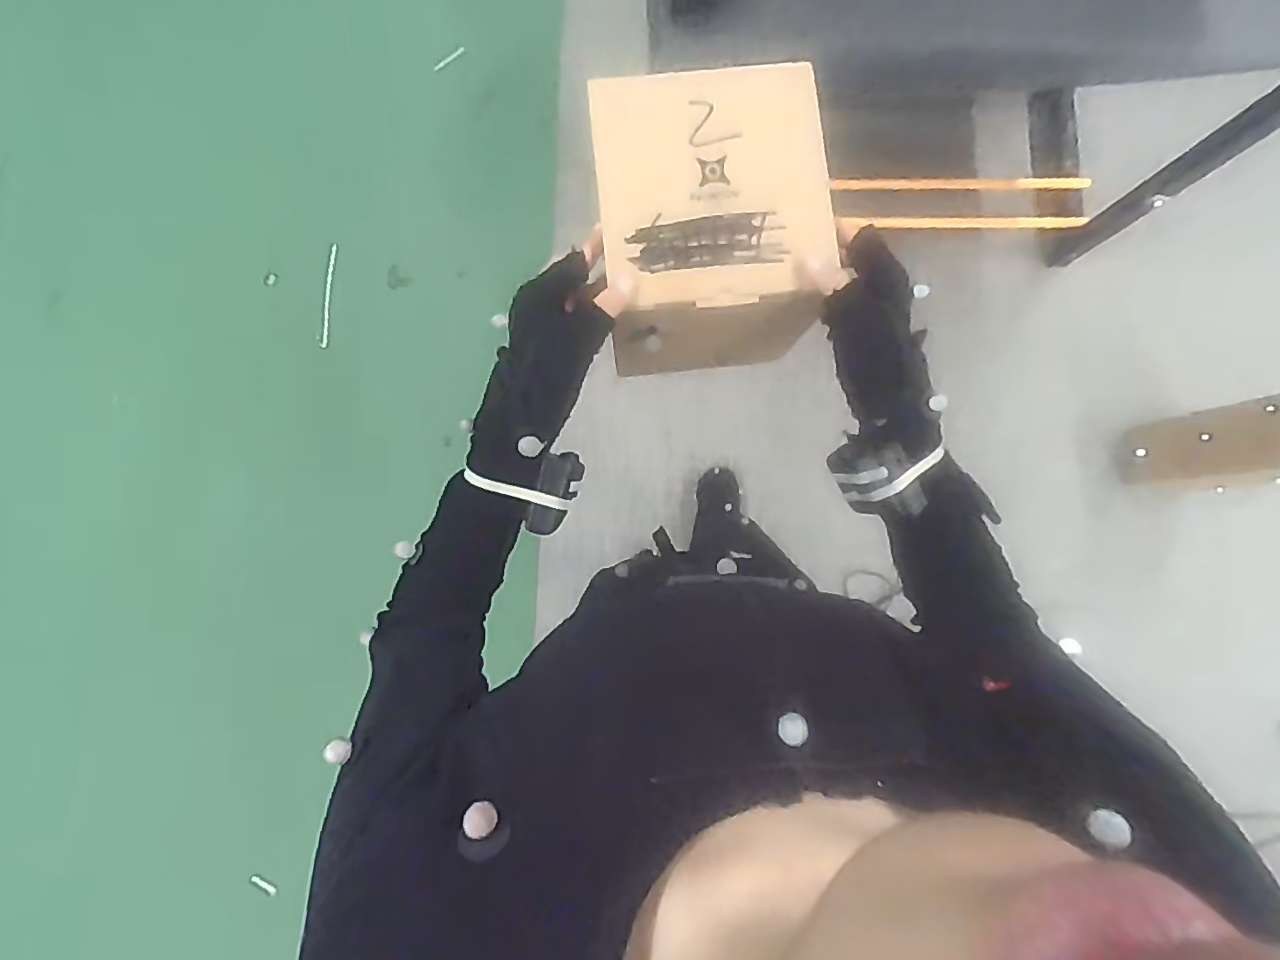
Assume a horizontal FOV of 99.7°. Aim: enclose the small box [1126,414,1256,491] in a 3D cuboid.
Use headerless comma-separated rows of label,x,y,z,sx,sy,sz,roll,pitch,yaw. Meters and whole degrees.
small box,1.432,-0.066,1.412,0.179,0.176,0.168,6,83,2
